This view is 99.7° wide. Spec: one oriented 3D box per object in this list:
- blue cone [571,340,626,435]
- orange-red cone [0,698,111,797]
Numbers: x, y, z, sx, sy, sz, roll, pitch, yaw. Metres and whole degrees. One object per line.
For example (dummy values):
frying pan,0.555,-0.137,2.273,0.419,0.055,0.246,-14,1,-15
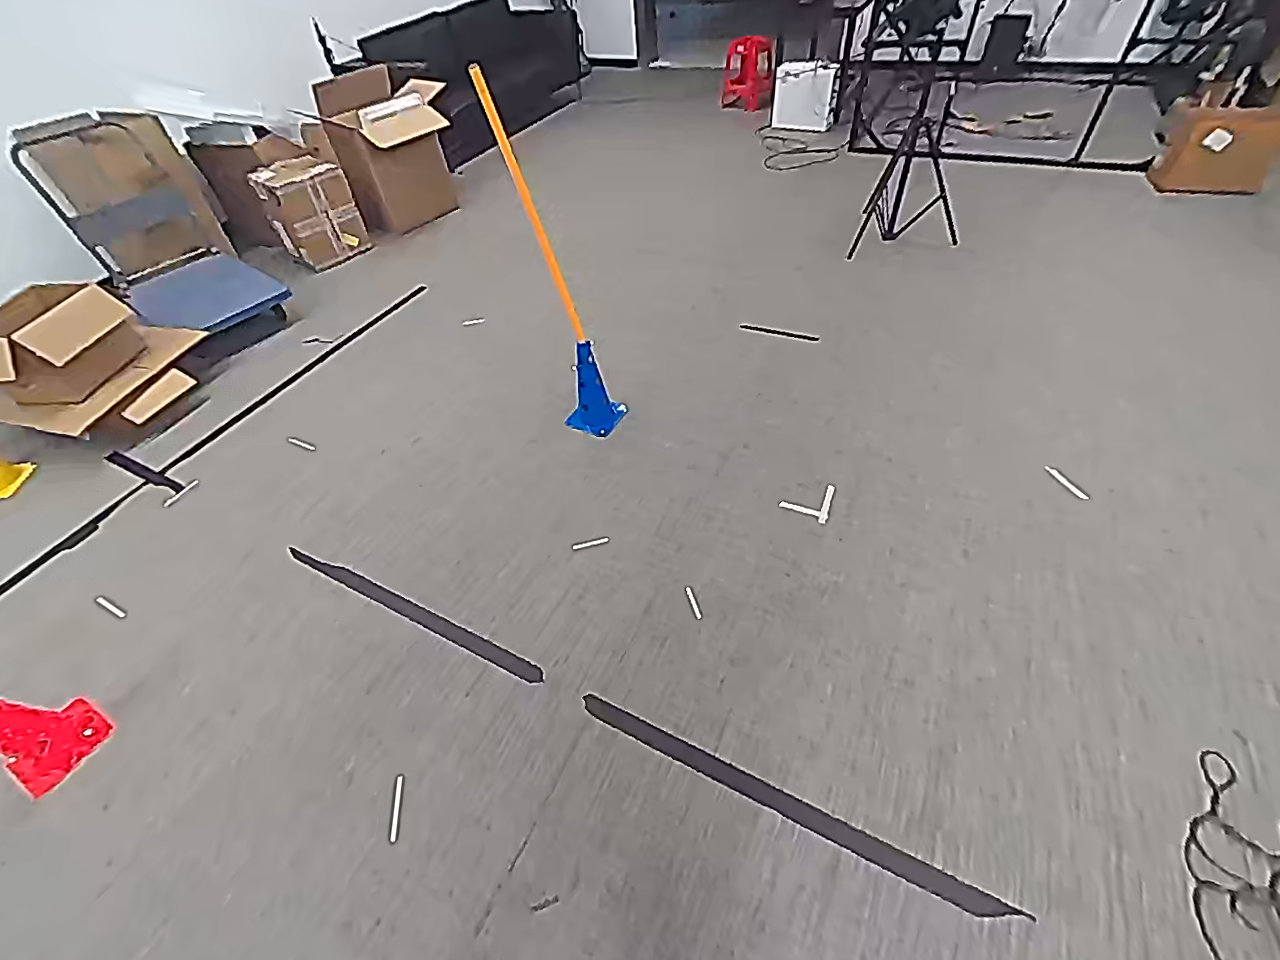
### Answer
blue cone,-0.182,-0.371,2.074,0.192,0.380,0.193,21,53,23
orange-red cone,-1.563,0.591,1.315,0.199,0.360,0.198,20,53,24
